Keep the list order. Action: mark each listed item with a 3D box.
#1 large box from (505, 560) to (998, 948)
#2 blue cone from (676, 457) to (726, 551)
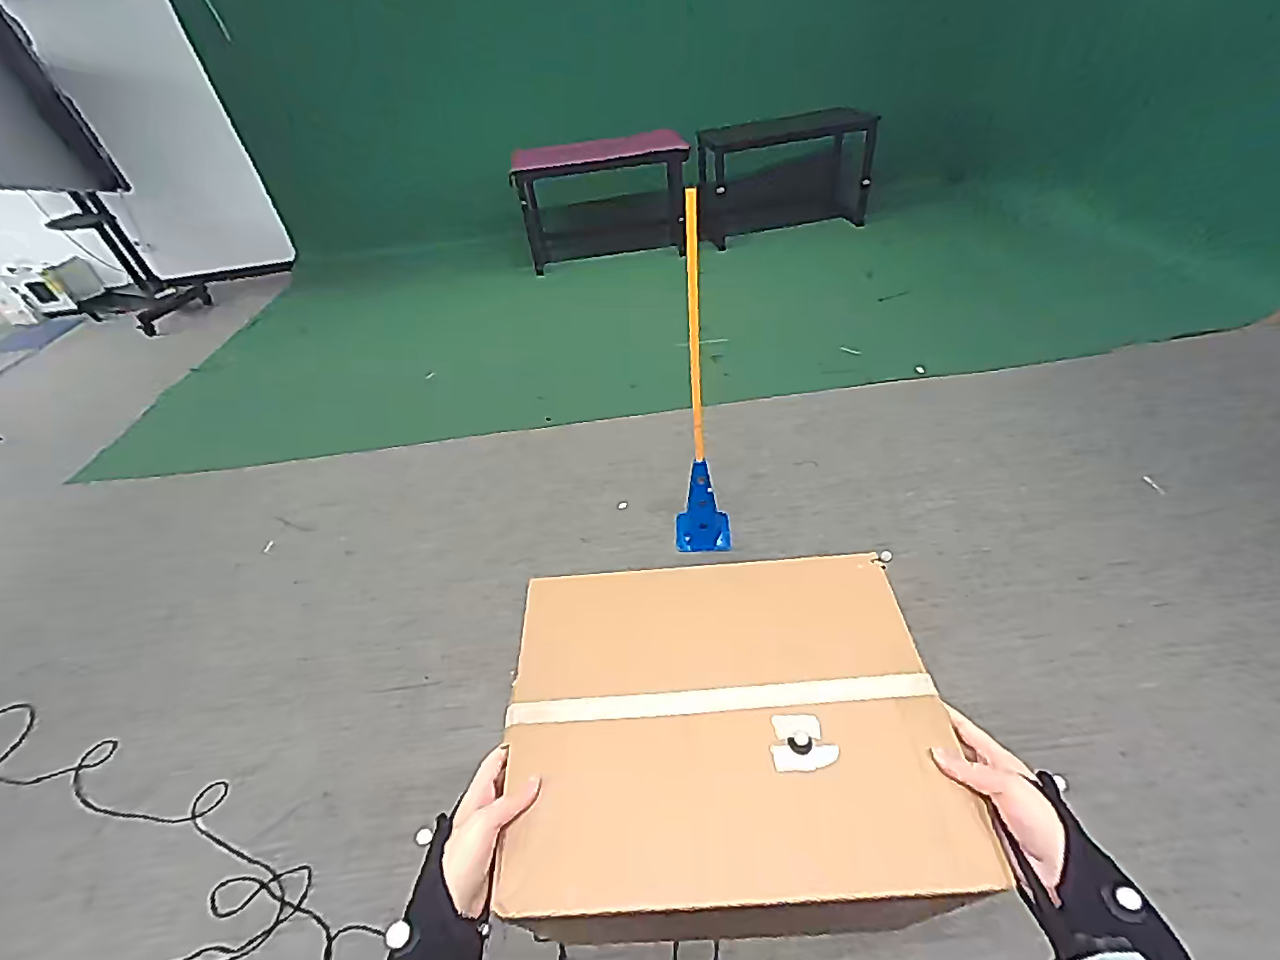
[{"bbox_3d":[0.088,0.322,0.635,0.408,0.320,0.320,-4,46,1],"label":"large box"},{"bbox_3d":[0.217,0.079,1.964,0.193,0.380,0.192,-1,40,7],"label":"blue cone"}]
